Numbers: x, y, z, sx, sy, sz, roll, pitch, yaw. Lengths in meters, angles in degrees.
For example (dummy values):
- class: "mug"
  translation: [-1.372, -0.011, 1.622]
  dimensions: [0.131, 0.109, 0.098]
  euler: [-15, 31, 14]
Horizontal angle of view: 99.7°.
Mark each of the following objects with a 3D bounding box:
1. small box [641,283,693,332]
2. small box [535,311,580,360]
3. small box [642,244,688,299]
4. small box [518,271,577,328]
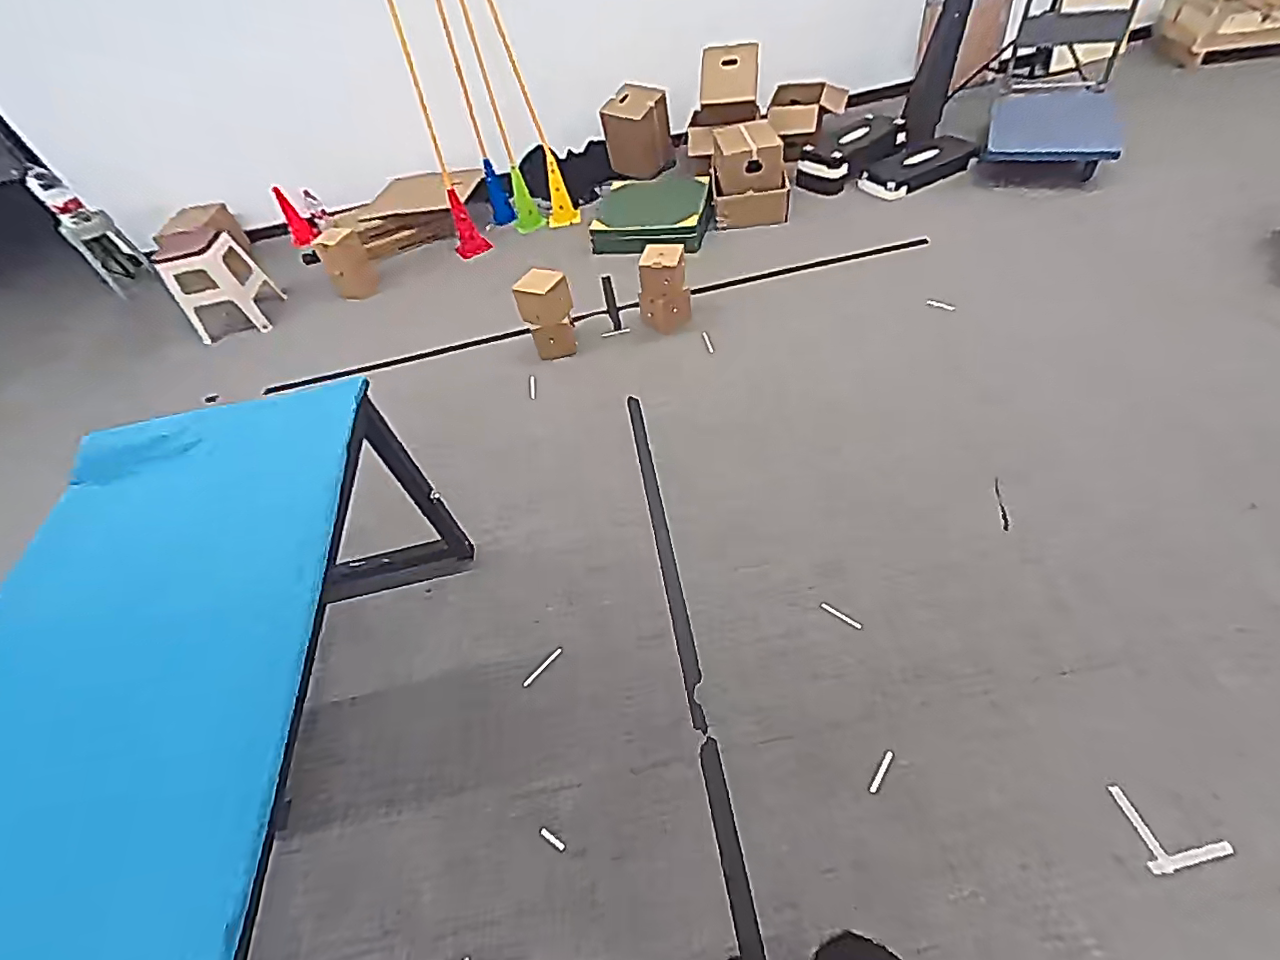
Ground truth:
- class: "small box"
  translation: [0.133, -0.813, 2.496]
  dimensions: [0.179, 0.176, 0.168]
  euler: [-38, 54, -21]
- class: "small box"
  translation: [-0.375, -0.679, 2.483]
  dimensions: [0.179, 0.176, 0.168]
  euler: [-12, 49, 3]
- class: "small box"
  translation: [0.116, -0.909, 2.361]
  dimensions: [0.168, 0.176, 0.179]
  euler: [6, 52, 14]
- class: "small box"
  translation: [-0.405, -0.794, 2.365]
  dimensions: [0.179, 0.176, 0.168]
  euler: [15, 54, 21]
